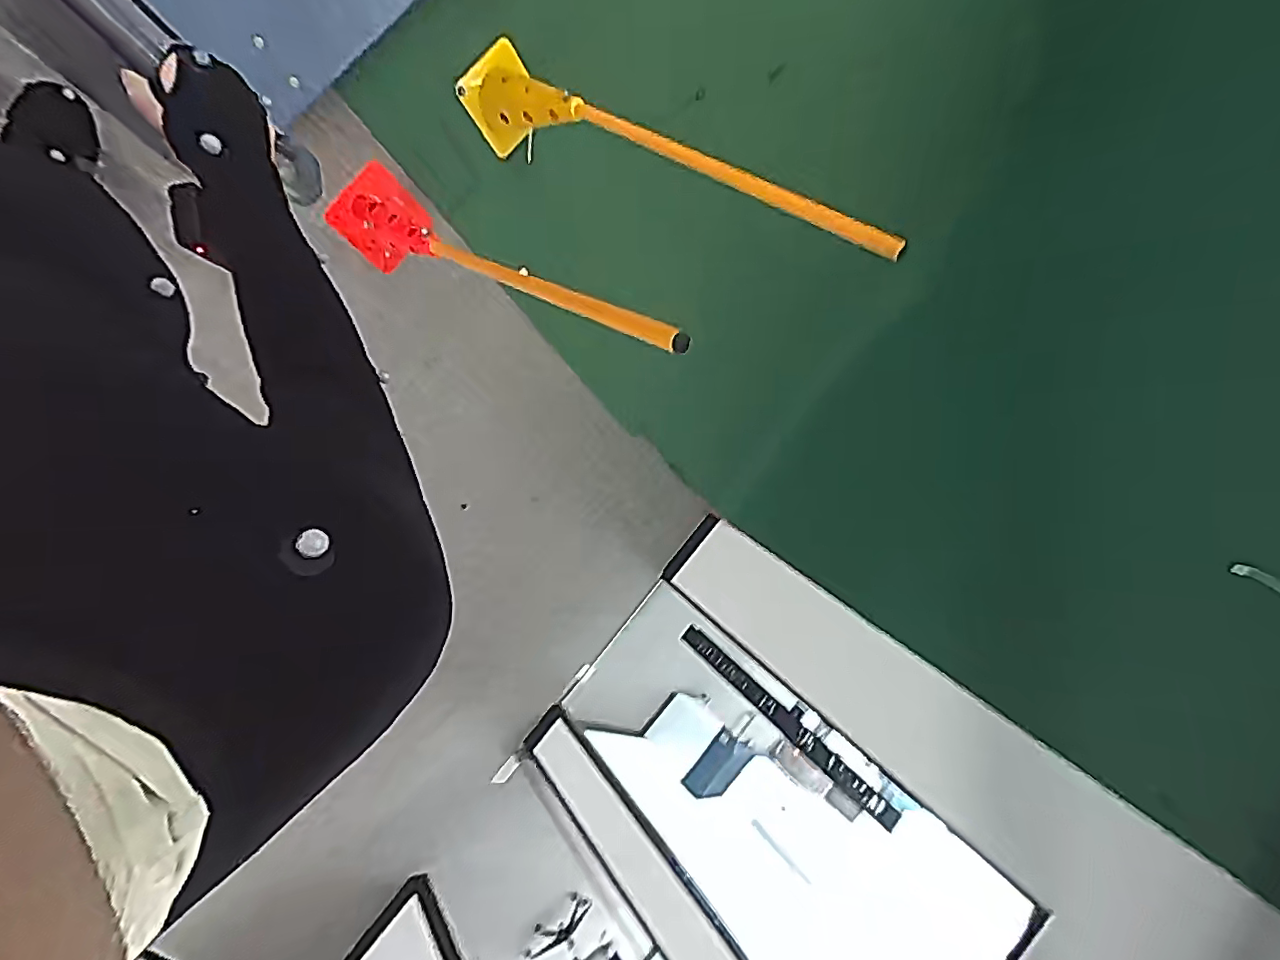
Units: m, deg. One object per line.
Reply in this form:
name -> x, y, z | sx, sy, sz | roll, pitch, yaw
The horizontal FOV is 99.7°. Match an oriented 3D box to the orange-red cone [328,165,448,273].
orange-red cone -> -0.544, -0.582, 1.272 | 0.199, 0.360, 0.198 | -51, 142, -6
